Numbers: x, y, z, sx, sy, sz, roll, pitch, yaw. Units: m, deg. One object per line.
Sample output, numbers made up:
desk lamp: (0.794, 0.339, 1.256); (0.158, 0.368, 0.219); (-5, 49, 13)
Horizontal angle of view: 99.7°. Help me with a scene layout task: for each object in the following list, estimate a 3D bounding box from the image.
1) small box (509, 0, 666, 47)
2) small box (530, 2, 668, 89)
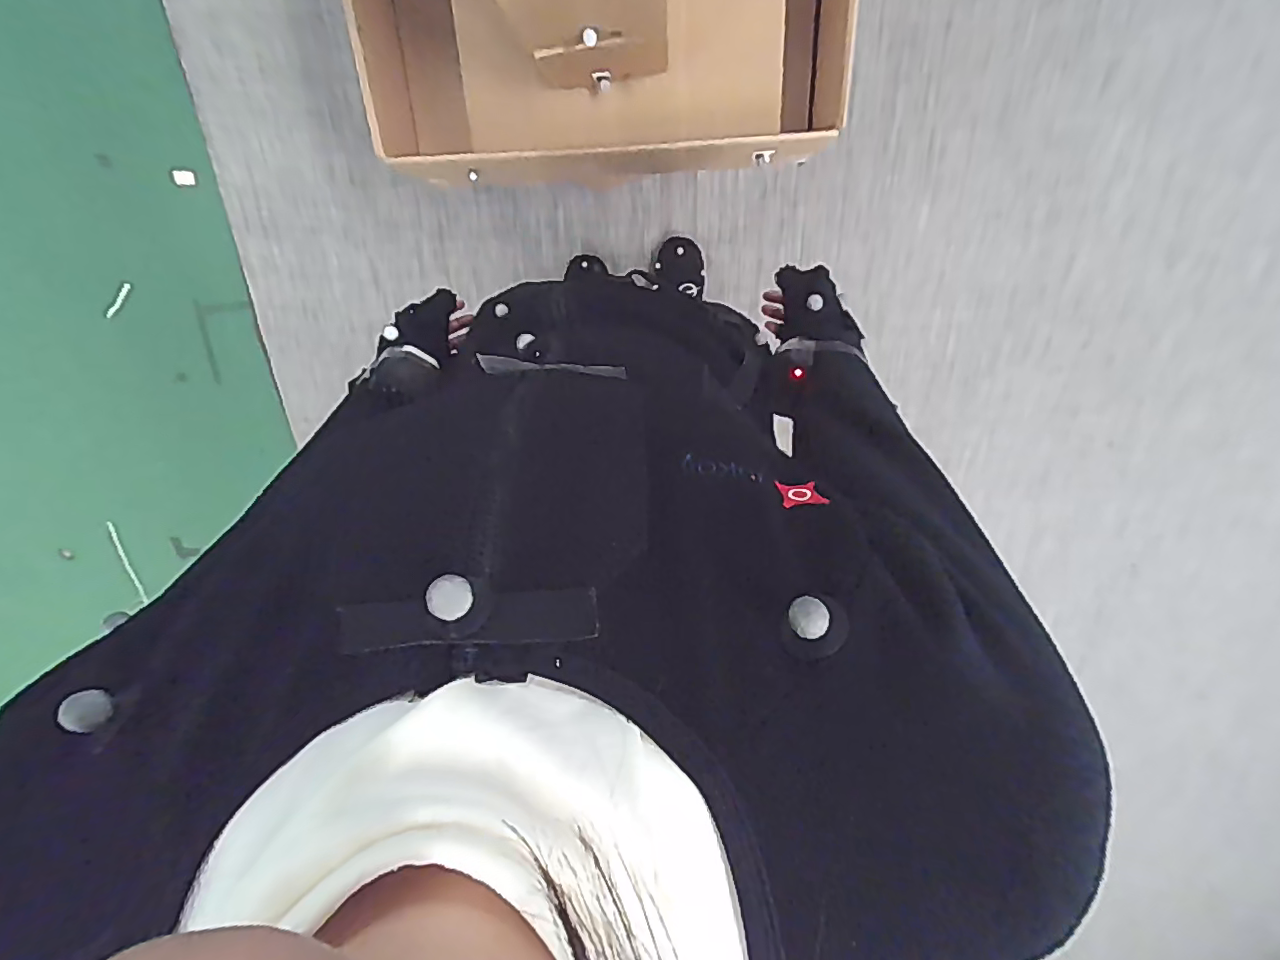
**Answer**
small box: (-0.062, -0.567, 0.531); (0.168, 0.176, 0.179); (-3, 114, 5)
small box: (-0.055, -0.629, 0.682); (0.168, 0.176, 0.179); (-5, 114, 6)
